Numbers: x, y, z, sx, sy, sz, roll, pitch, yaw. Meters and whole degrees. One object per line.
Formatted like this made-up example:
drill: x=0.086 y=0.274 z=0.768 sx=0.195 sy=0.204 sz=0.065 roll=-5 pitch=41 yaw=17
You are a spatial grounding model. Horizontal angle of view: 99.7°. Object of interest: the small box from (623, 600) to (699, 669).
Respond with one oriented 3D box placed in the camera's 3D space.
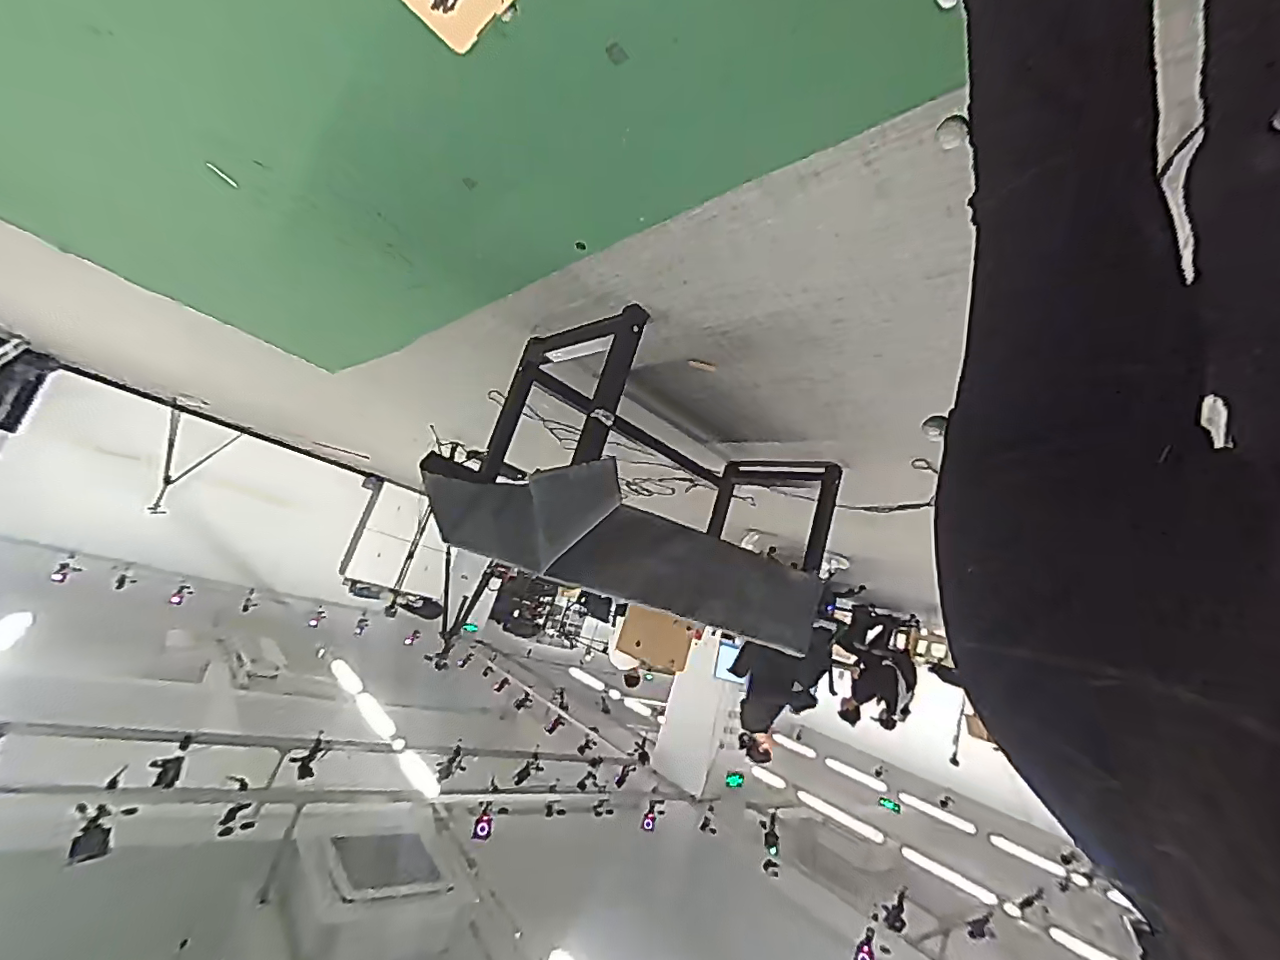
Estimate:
small box: x=0.076 y=0.505 z=1.780 sx=0.168 sy=0.176 sz=0.179 roll=27 pitch=166 yaw=-37
